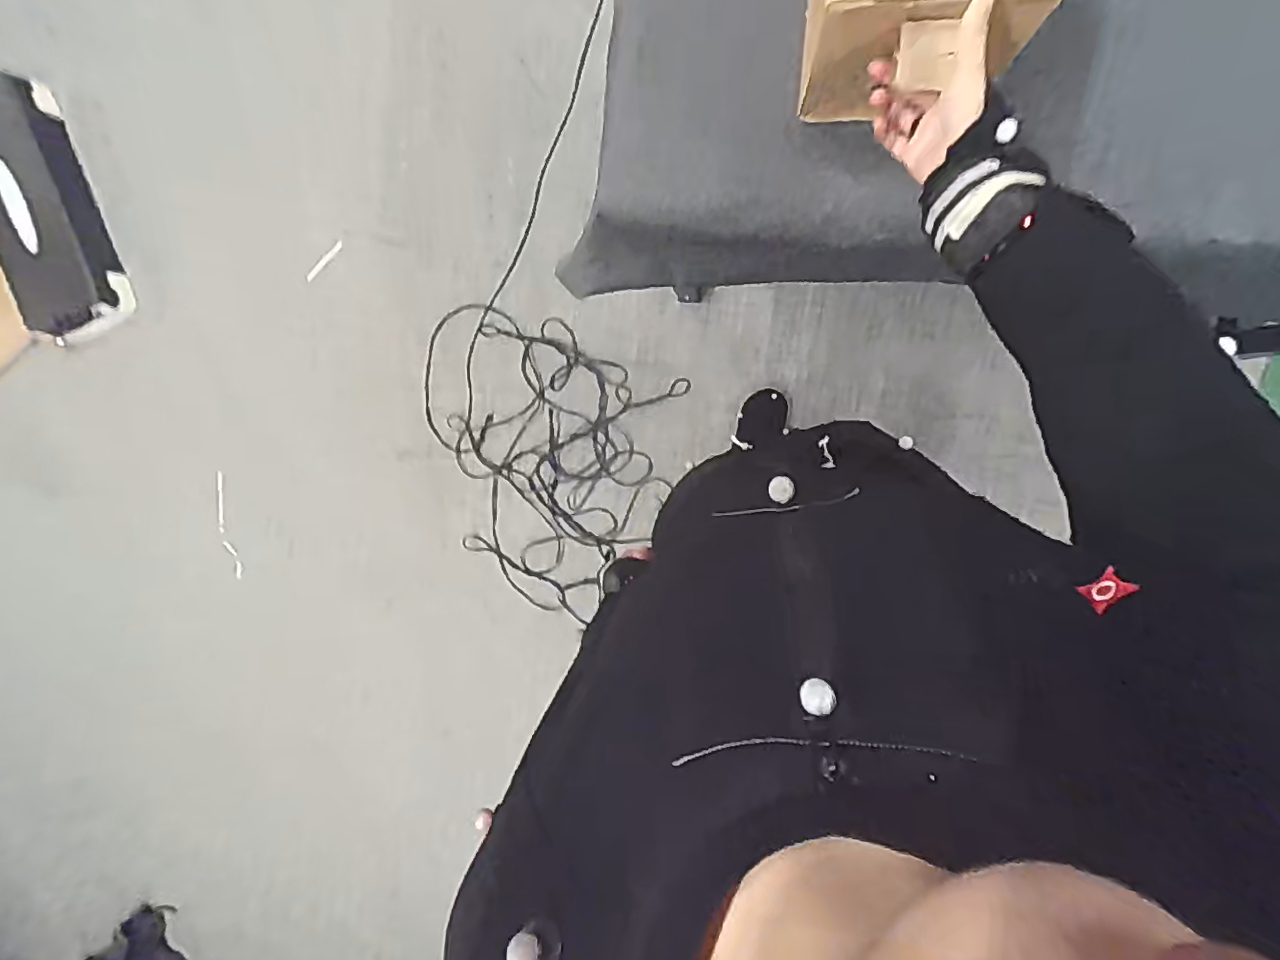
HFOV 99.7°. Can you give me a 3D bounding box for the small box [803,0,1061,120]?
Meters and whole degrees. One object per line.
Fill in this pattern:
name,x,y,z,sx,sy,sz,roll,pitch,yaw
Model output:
small box,0.239,-0.445,0.461,0.168,0.176,0.179,3,98,8
